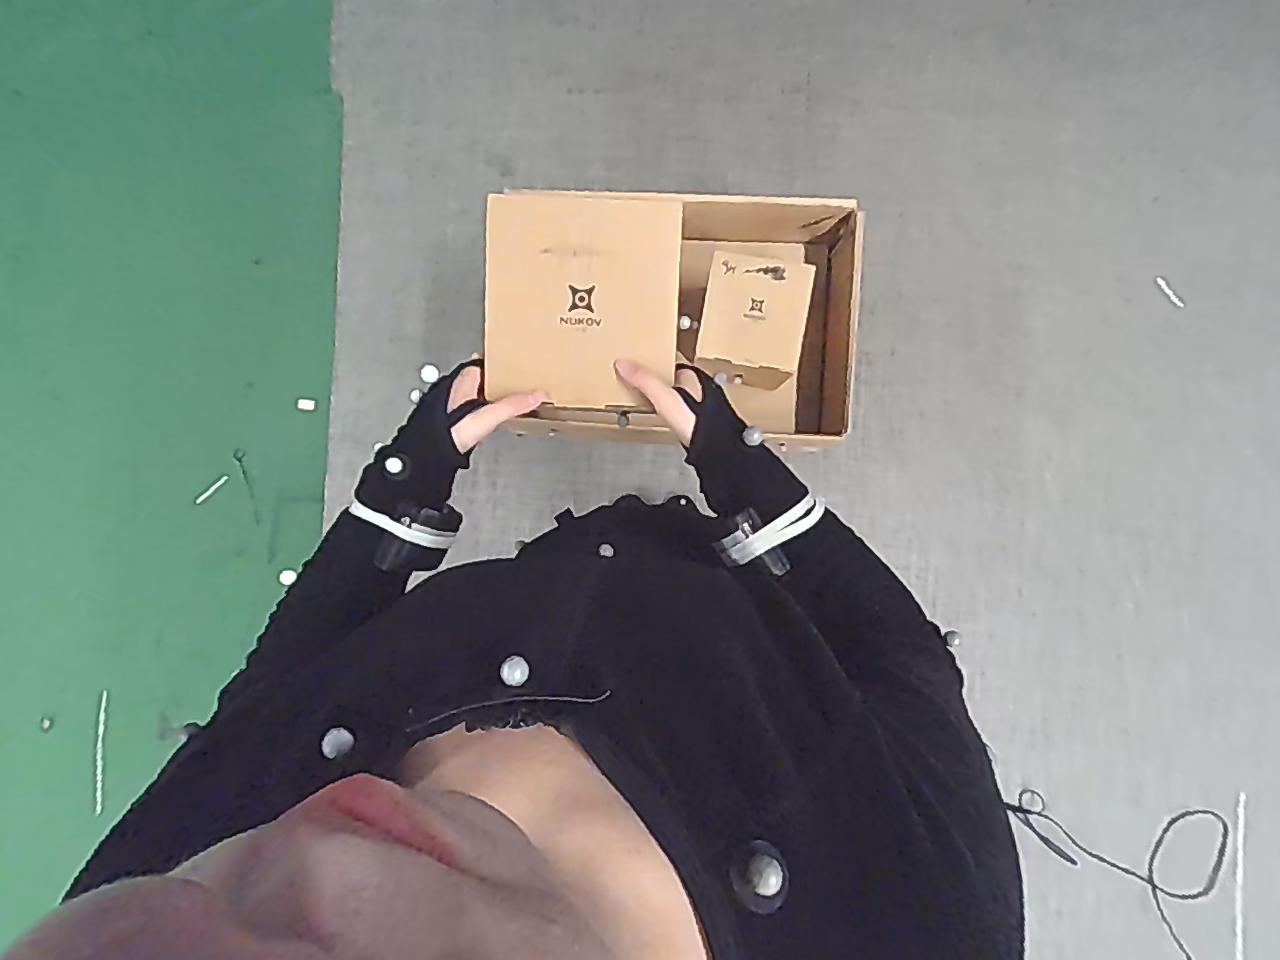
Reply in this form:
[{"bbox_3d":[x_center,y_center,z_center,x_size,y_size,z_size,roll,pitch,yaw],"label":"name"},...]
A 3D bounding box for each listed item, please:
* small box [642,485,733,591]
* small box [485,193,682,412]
[{"bbox_3d":[0.118,0.153,1.411,0.179,0.176,0.168,-35,55,-28],"label":"small box"},{"bbox_3d":[-0.047,-0.160,0.543,0.168,0.176,0.179,3,96,1],"label":"small box"}]
